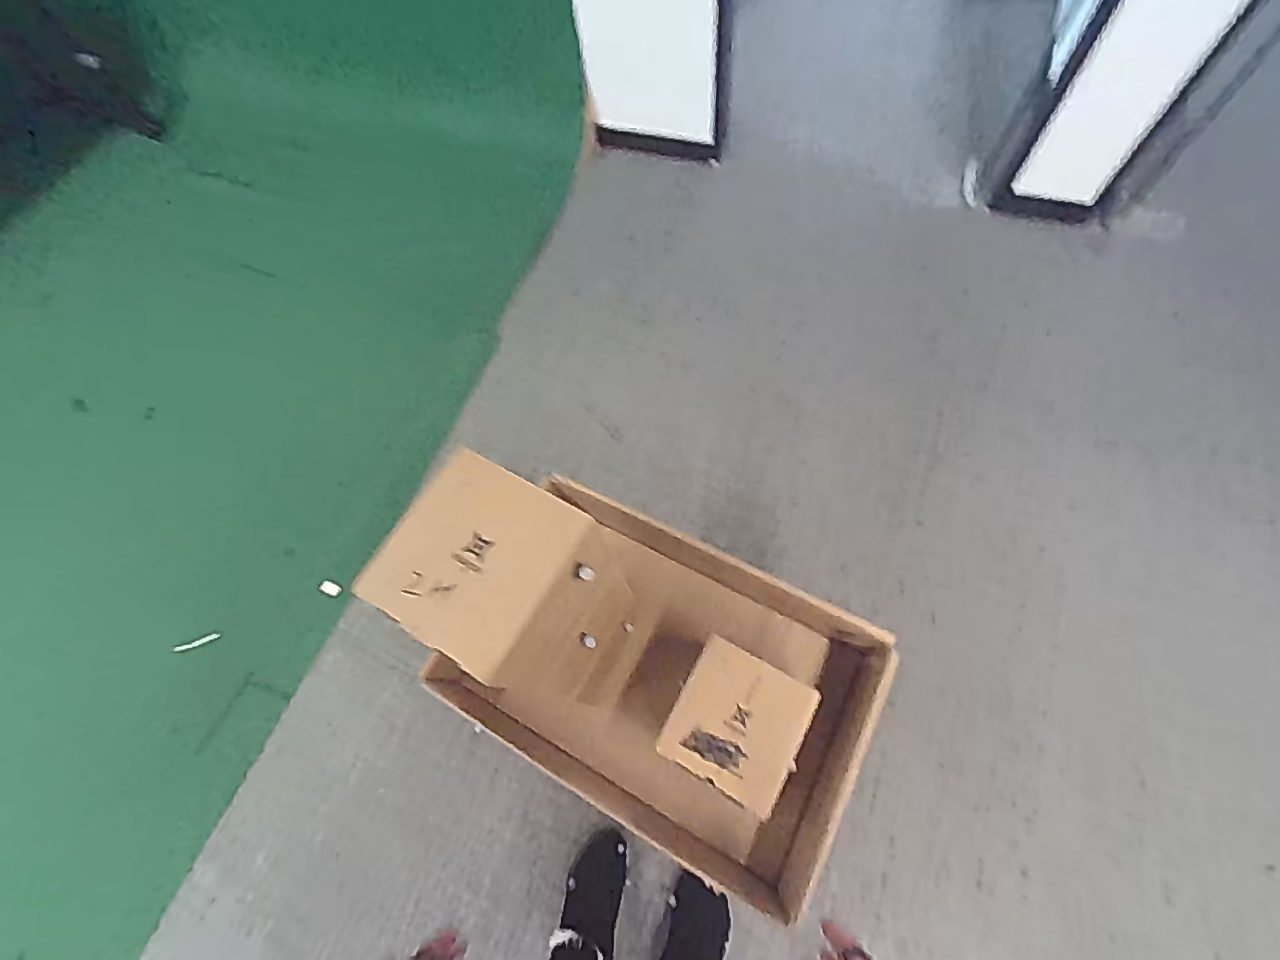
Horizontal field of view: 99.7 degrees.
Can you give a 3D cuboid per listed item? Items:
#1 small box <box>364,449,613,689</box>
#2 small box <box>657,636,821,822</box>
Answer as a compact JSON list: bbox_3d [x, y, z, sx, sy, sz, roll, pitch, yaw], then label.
[{"bbox_3d":[-0.143,0.103,0.585,0.168,0.176,0.179,28,72,17],"label":"small box"},{"bbox_3d":[0.143,0.359,0.799,0.168,0.176,0.179,27,72,16],"label":"small box"}]
